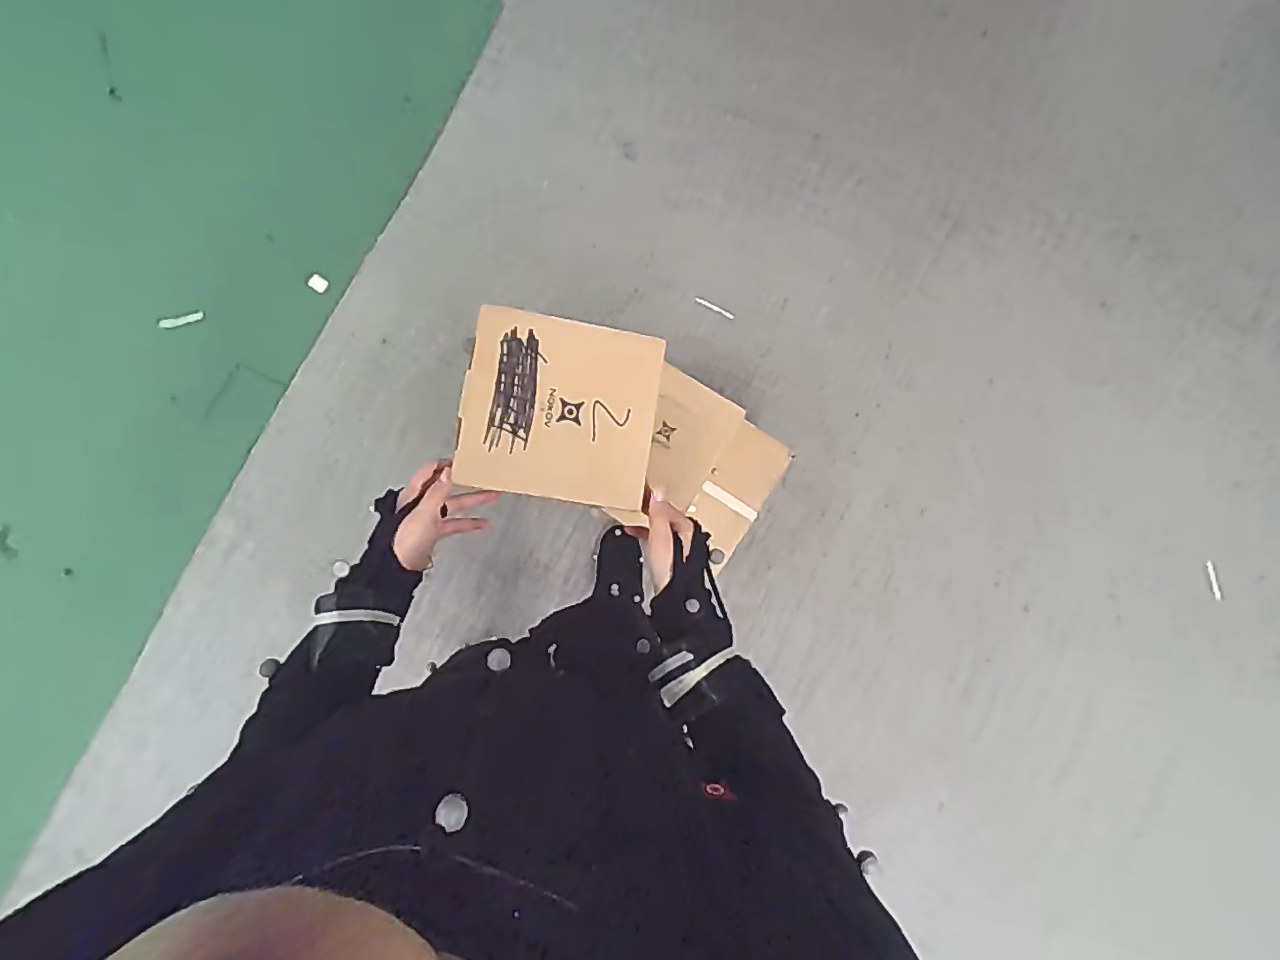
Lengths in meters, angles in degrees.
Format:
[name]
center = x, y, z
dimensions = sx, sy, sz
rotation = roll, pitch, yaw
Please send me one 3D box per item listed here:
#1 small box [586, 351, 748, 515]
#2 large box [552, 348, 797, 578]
[small box]
center = 0.038, -0.060, 0.823
dimensions = 0.168, 0.176, 0.179
rotation = 31, 86, 0
[large box]
center = 0.066, -0.030, 1.226
dimensions = 0.408, 0.320, 0.320
rotation = 33, 88, 1
